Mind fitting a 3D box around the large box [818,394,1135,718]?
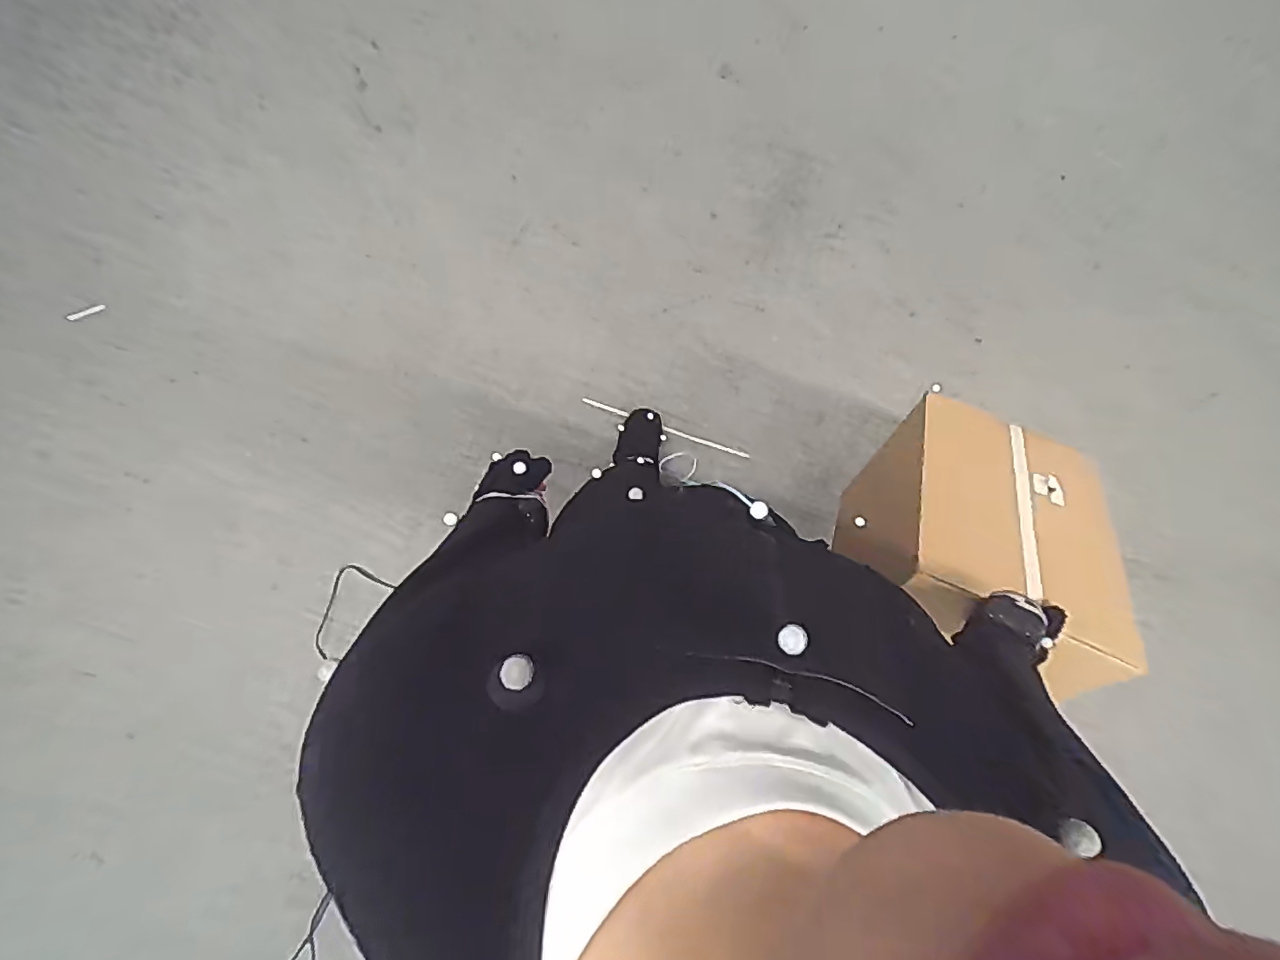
[{"bbox_3d":[0.543,0.131,0.949,0.320,0.320,0.408,25,51,4],"label":"large box"}]
